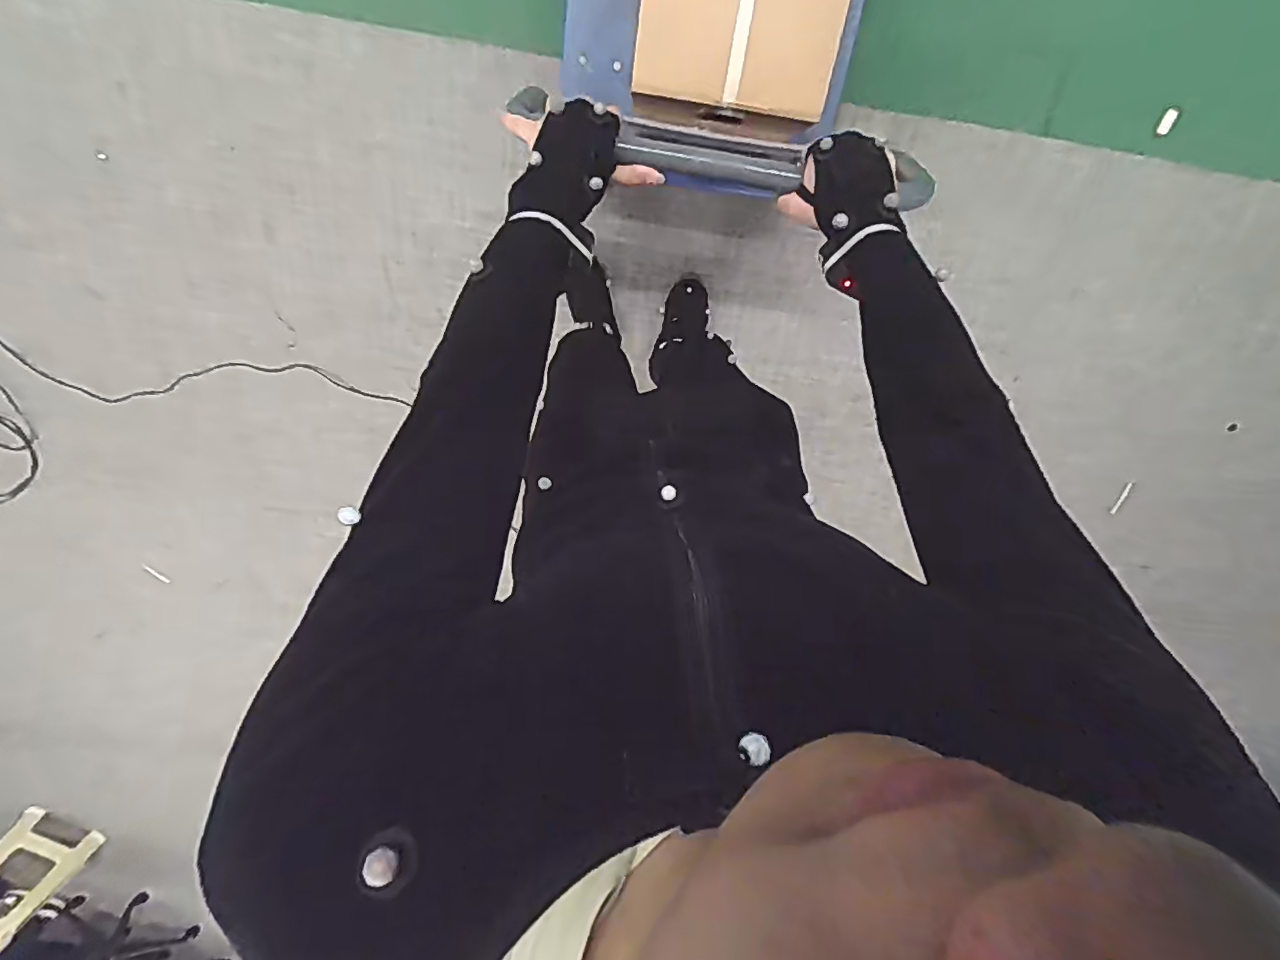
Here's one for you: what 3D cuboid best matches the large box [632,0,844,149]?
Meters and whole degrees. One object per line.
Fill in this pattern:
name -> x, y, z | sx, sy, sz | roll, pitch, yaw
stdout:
large box -> 0.164, -0.839, 0.934 | 0.320, 0.320, 0.408 | 7, 114, -3
